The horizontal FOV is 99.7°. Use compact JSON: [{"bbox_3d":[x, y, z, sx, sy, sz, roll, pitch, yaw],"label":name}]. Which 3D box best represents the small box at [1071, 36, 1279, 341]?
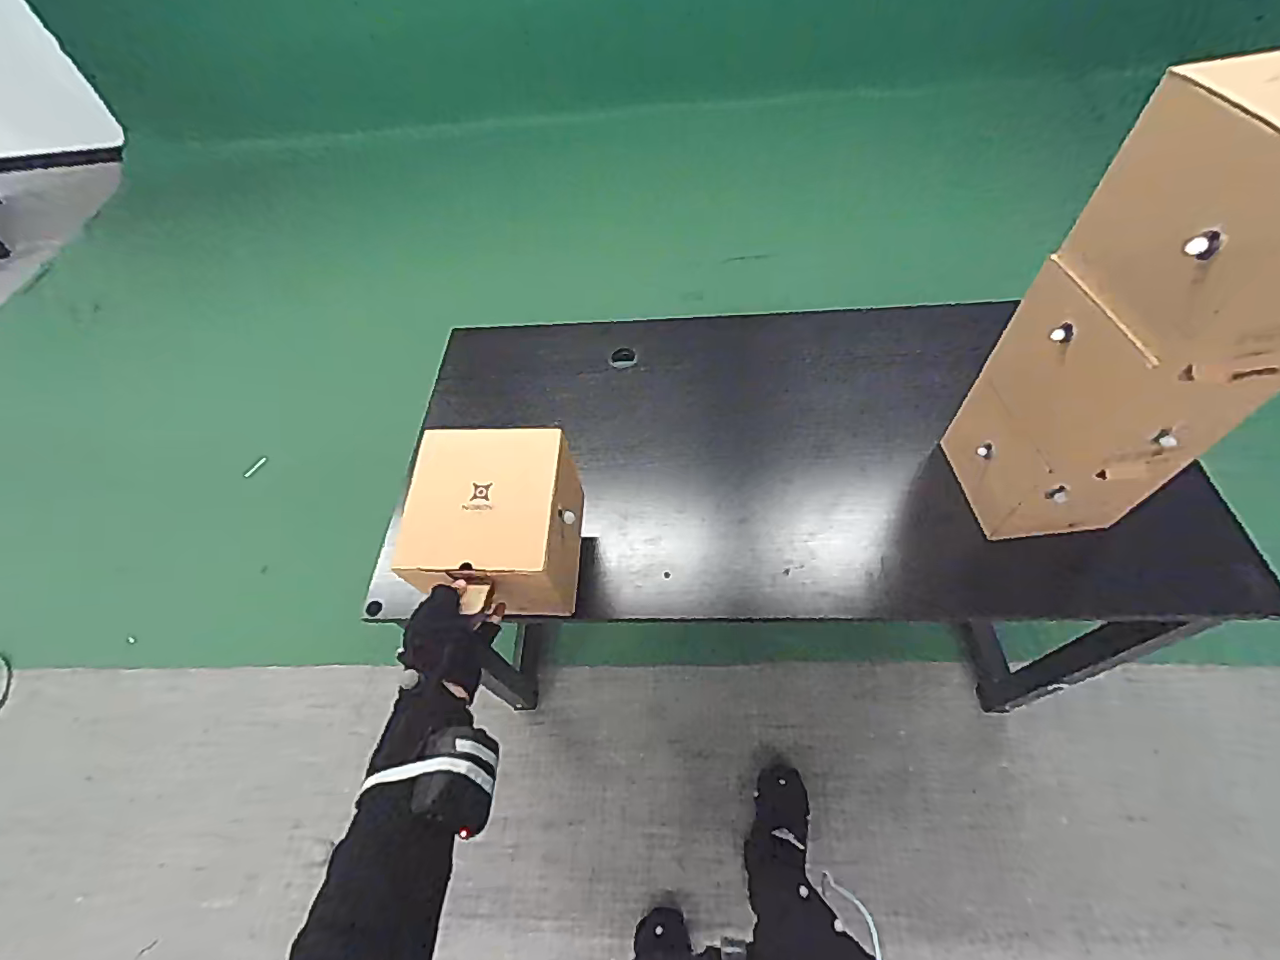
[{"bbox_3d":[0.517,-0.230,0.439,0.168,0.176,0.179,-8,55,0],"label":"small box"}]

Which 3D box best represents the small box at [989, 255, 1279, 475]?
[{"bbox_3d":[0.526,-0.129,0.588,0.168,0.176,0.179,-8,56,1],"label":"small box"}]

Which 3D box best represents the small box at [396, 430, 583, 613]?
[{"bbox_3d":[-0.167,0.055,0.667,0.168,0.176,0.179,0,63,4],"label":"small box"}]
